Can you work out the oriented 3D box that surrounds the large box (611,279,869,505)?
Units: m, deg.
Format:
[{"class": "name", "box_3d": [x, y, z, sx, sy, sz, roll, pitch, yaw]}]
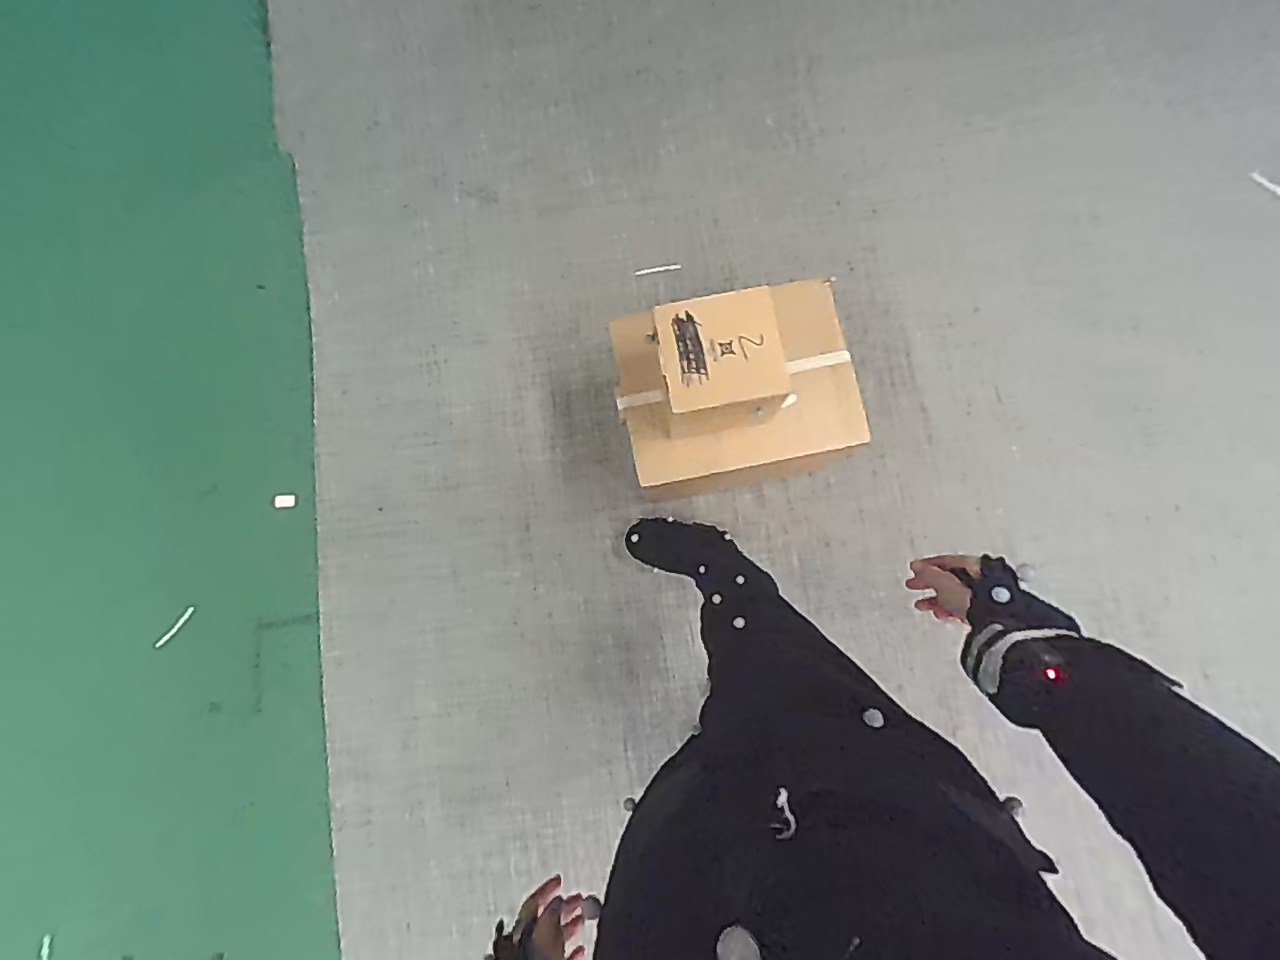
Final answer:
[{"class": "large box", "box_3d": [0.176, -0.151, 1.096, 0.408, 0.320, 0.320, -11, 82, 1]}]
